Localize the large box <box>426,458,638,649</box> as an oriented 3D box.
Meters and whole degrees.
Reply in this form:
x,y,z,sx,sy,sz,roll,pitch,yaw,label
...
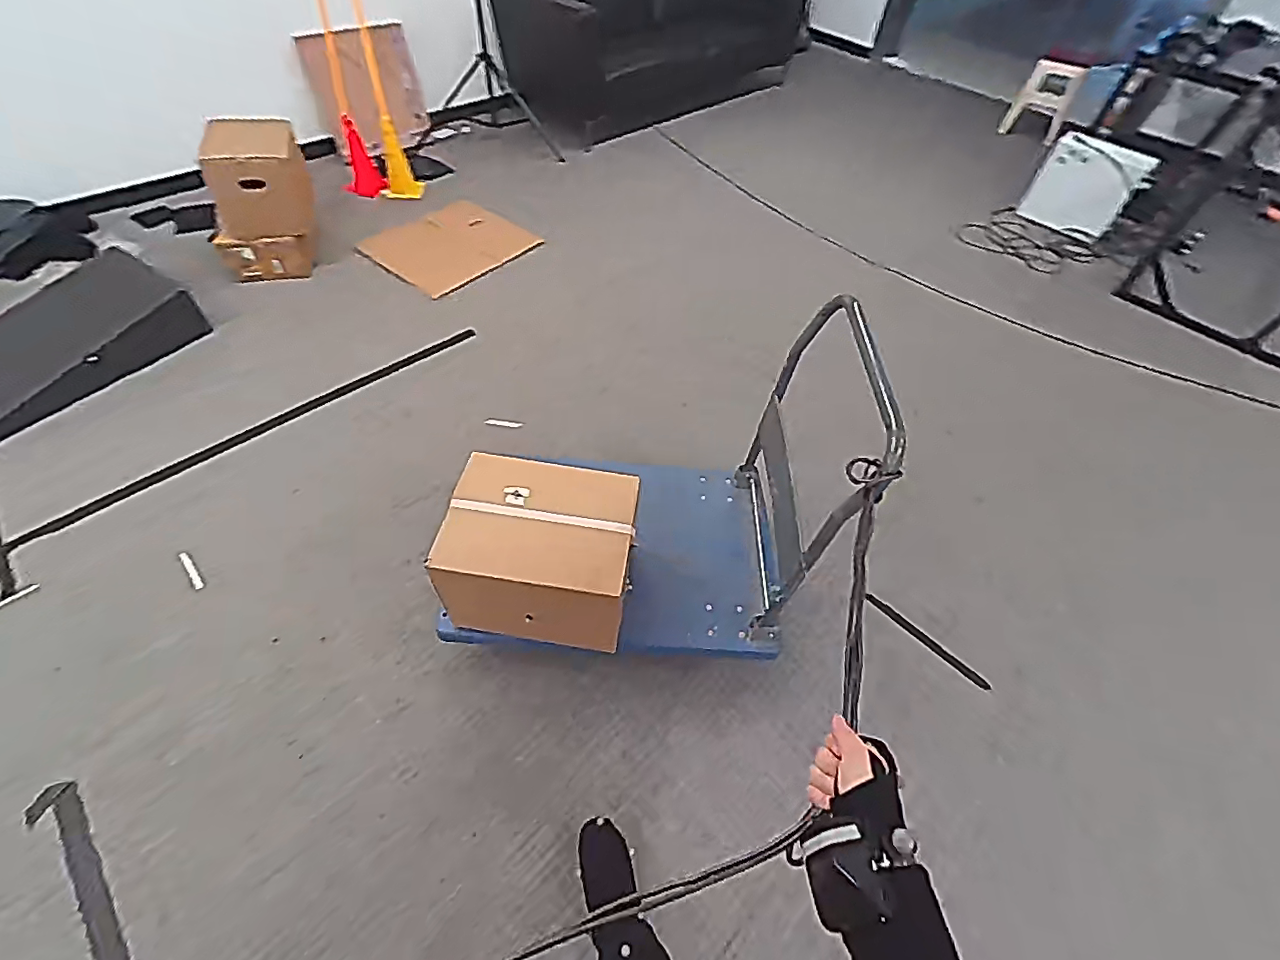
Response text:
x,y,z,sx,sy,sz,roll,pitch,yaw,label
-0.224,0.182,1.286,0.408,0.320,0.320,8,51,2,large box
